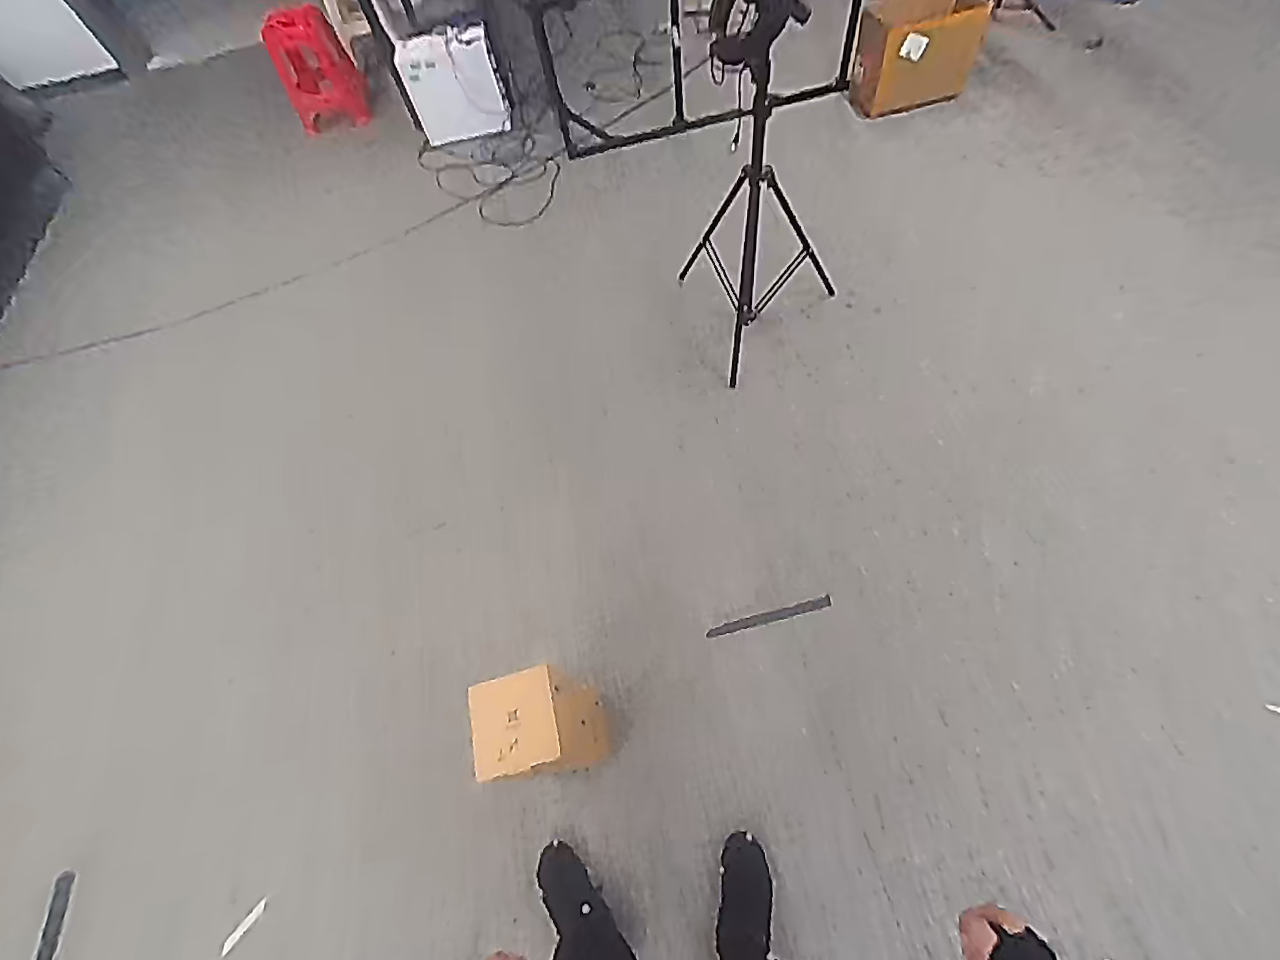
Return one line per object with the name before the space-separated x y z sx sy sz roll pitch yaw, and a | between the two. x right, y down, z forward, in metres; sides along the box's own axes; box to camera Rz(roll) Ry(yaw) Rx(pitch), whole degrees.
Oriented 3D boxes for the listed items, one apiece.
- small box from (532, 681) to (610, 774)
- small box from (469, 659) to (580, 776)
small box | -0.184 0.637 1.382 0.168 0.176 0.179 -16 60 0
small box | -0.231 0.485 1.095 0.168 0.176 0.179 -16 61 1
